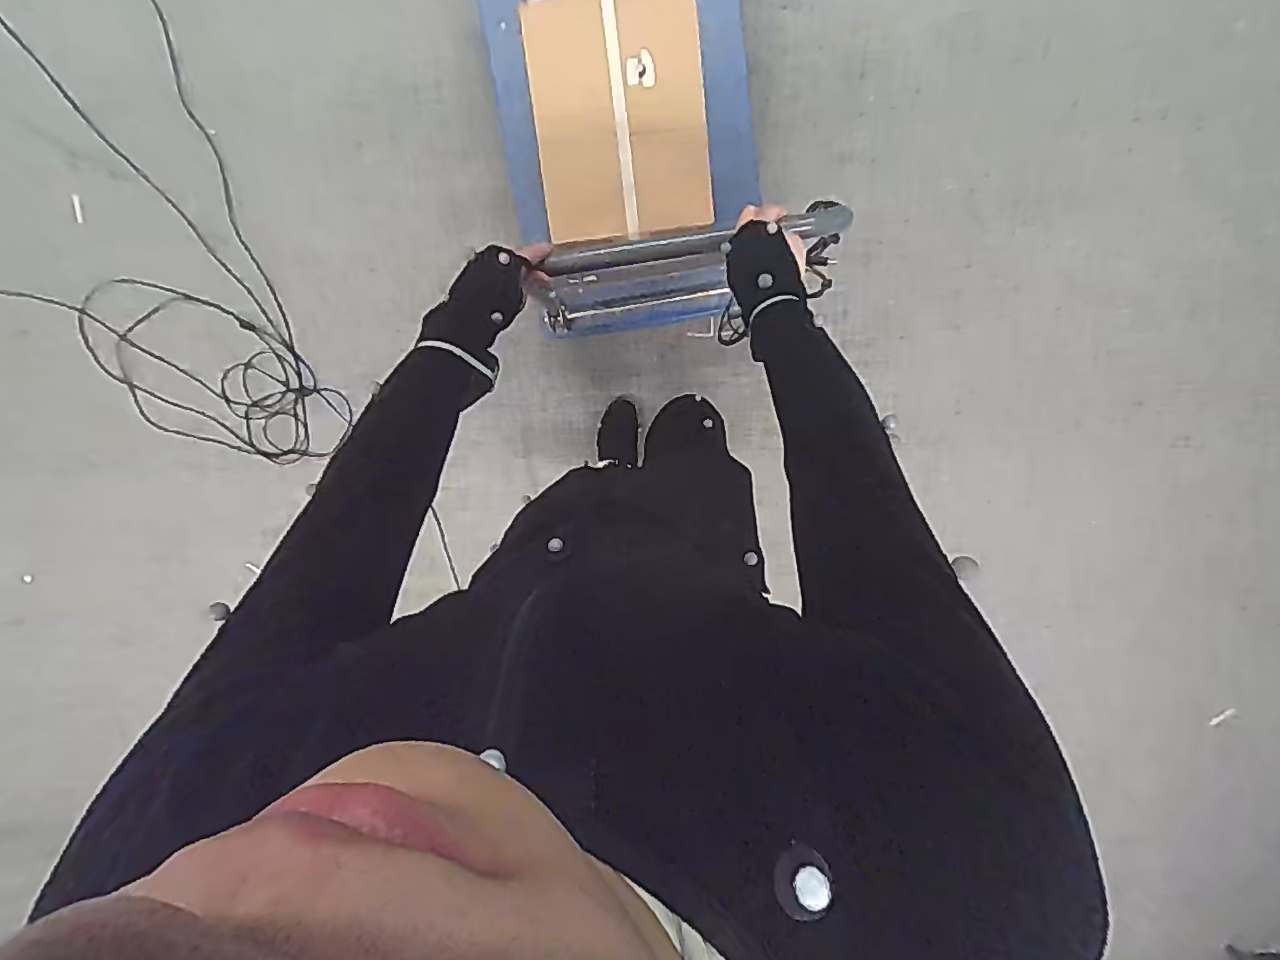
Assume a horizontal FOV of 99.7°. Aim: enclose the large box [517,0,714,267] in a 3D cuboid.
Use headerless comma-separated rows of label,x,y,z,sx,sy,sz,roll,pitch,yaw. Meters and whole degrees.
large box,-0.035,-0.690,1.113,0.320,0.320,0.408,-6,102,1
